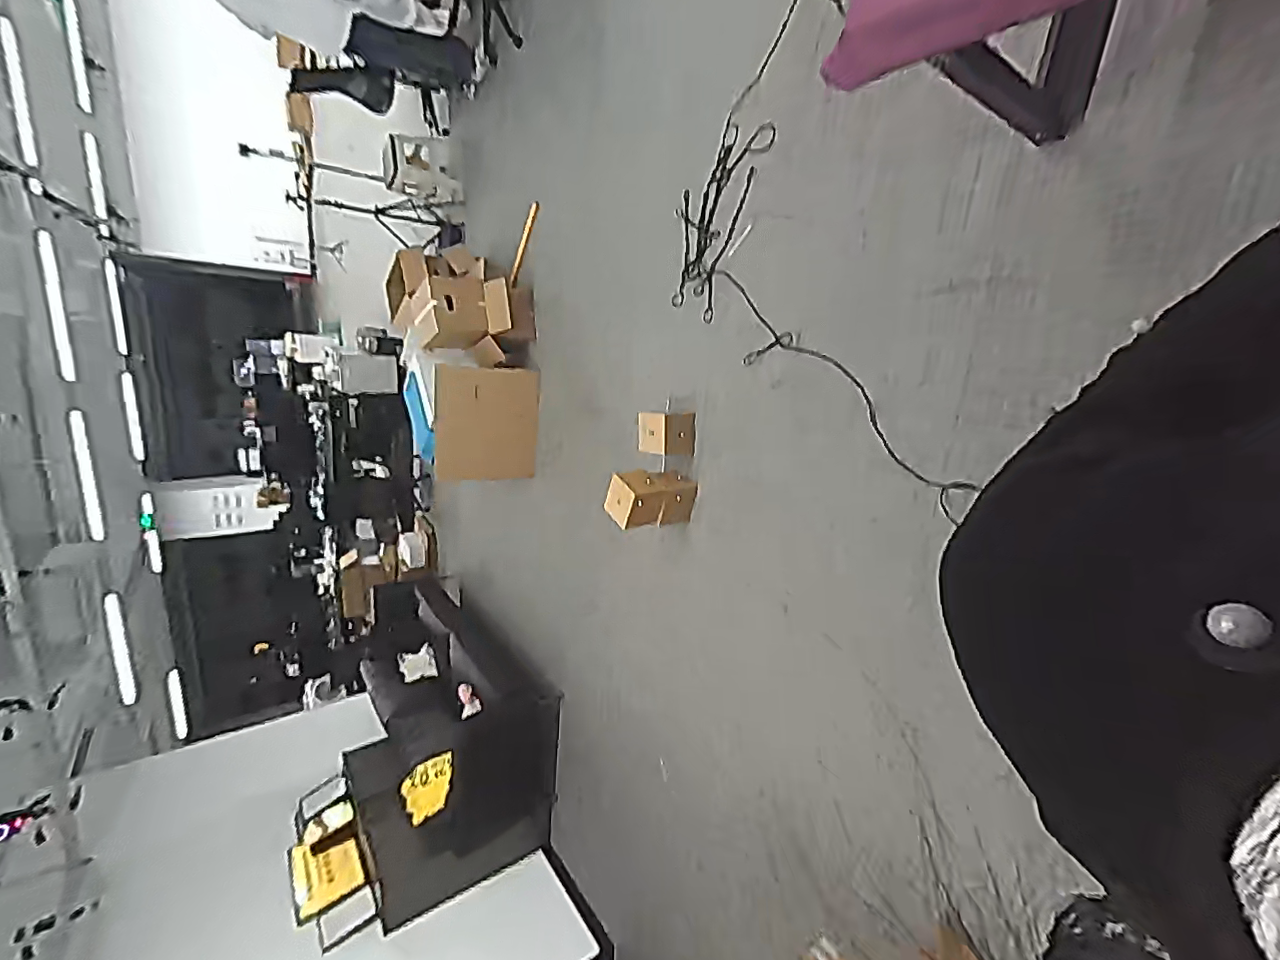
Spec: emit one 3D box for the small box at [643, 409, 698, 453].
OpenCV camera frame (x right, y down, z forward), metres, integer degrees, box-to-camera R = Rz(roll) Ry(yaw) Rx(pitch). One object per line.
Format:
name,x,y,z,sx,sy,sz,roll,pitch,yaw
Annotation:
small box,0.131,-0.210,2.269,0.179,0.176,0.168,13,106,52

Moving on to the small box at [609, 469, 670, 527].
small box,-0.001,0.071,2.224,0.168,0.176,0.179,45,128,41
